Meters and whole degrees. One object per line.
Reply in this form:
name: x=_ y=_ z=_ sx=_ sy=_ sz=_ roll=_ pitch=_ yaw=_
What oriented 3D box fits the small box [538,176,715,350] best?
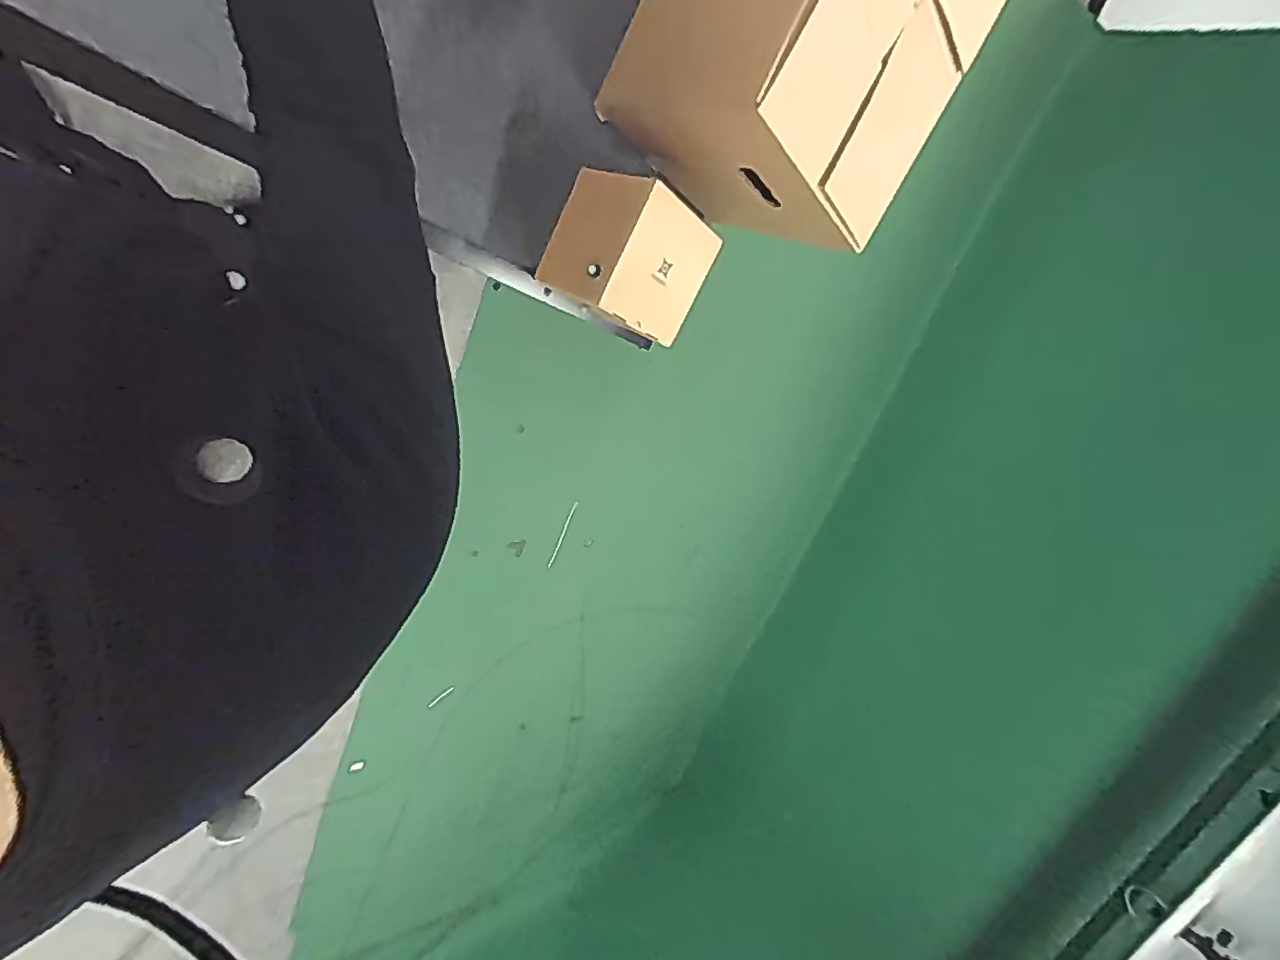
small box: x=-0.025 y=-0.326 z=0.813 sx=0.168 sy=0.176 sz=0.179 roll=14 pitch=108 yaw=-50
